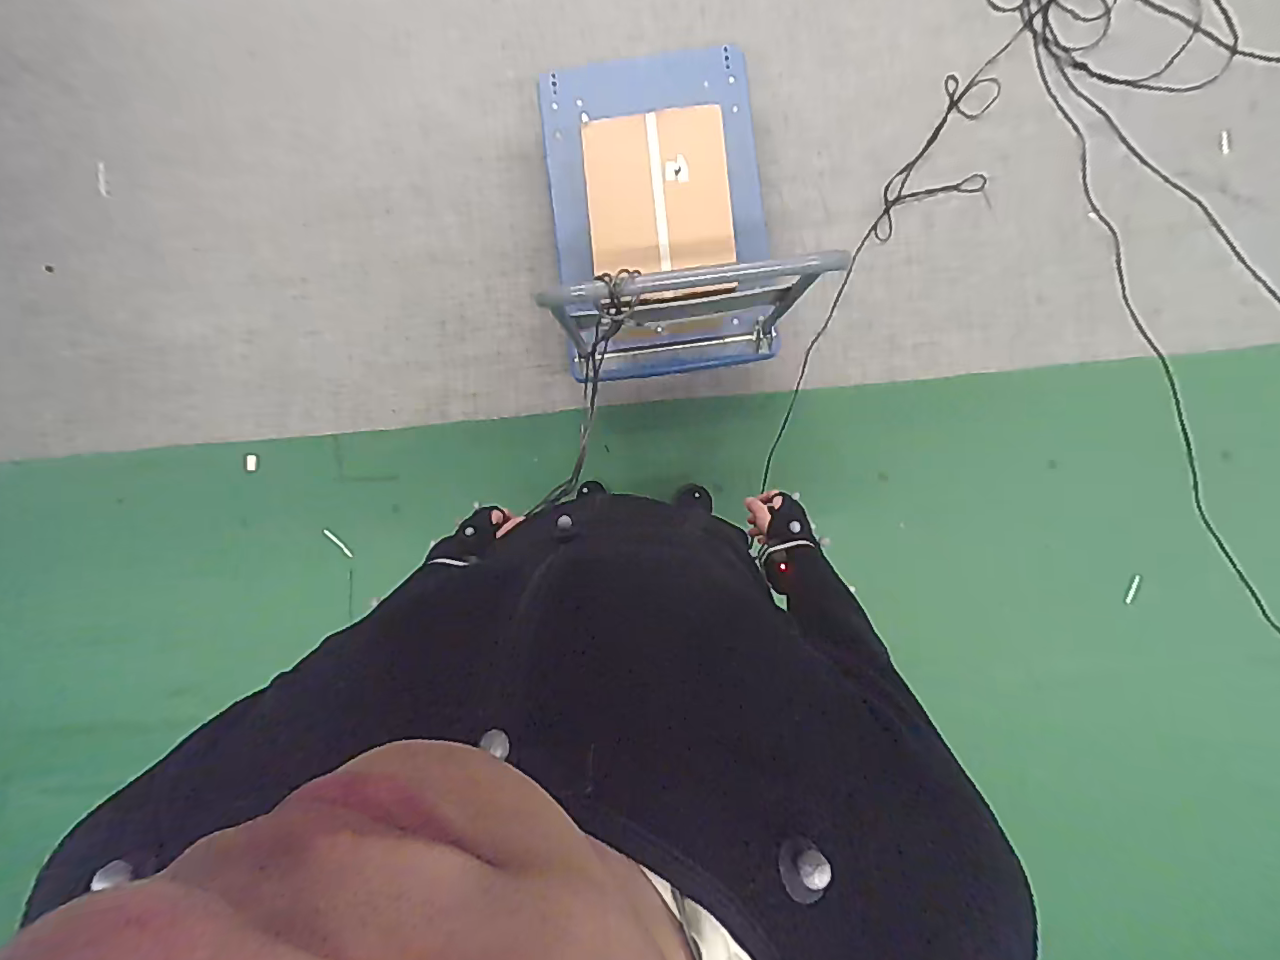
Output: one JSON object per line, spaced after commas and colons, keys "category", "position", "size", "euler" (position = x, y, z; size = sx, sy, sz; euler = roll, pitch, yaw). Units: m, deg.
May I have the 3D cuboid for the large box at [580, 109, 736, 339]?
{"category": "large box", "position": [0.045, -0.601, 1.338], "size": [0.320, 0.320, 0.408], "euler": [-5, 88, 1]}
